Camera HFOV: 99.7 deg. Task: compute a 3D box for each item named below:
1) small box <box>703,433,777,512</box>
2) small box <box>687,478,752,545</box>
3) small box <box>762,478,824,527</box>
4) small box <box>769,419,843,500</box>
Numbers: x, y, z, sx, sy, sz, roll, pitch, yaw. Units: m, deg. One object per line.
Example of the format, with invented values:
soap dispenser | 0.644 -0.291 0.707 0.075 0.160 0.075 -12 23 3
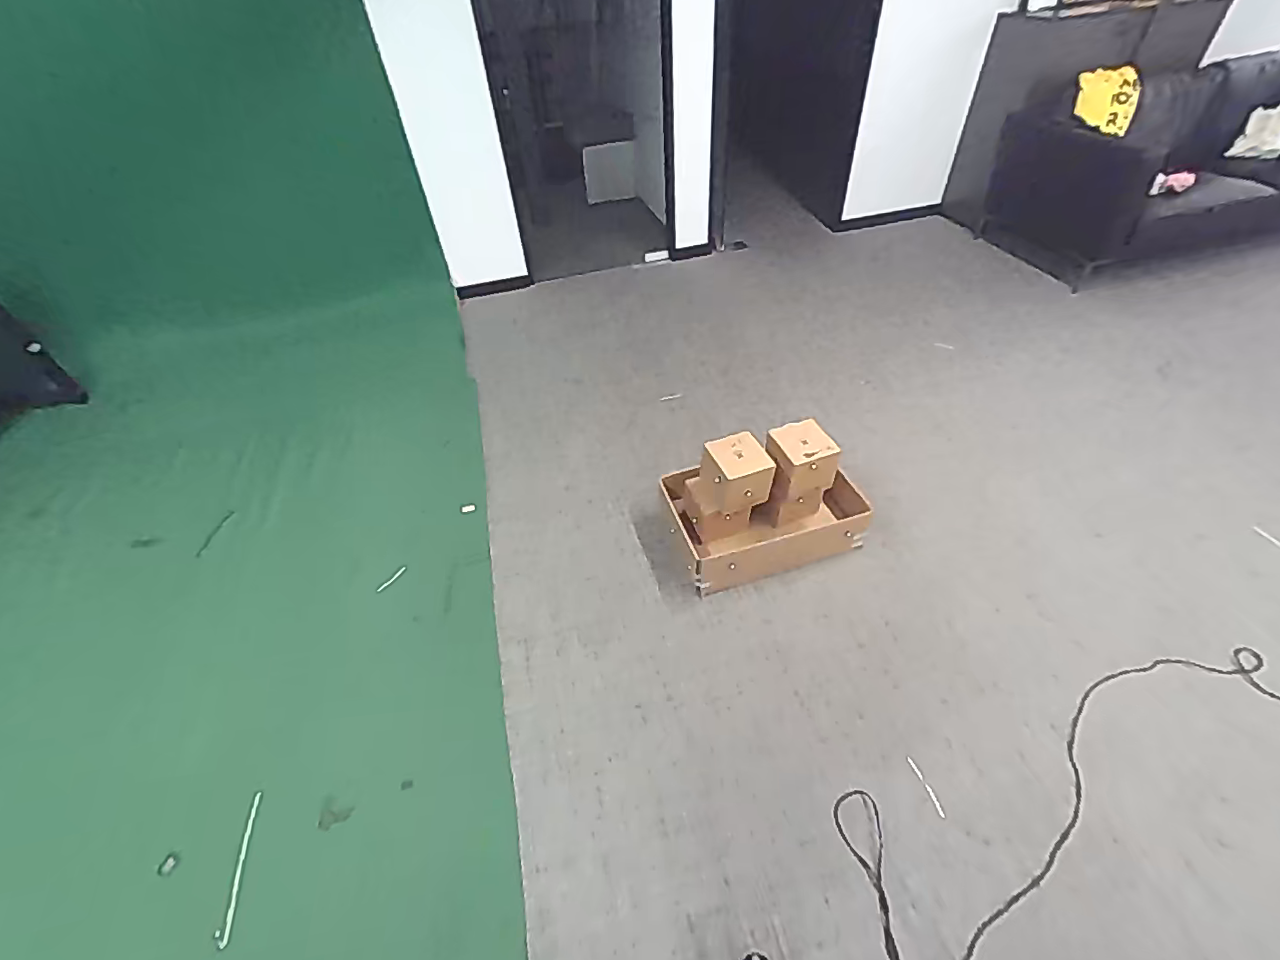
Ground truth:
small box | 0.315 -0.018 1.731 0.168 0.176 0.179 -17 47 -14
small box | 0.272 0.097 1.850 0.179 0.176 0.168 -16 47 -13
small box | 0.526 0.036 1.885 0.179 0.176 0.168 -20 47 -13
small box | 0.528 -0.066 1.755 0.168 0.176 0.179 -18 46 -10
